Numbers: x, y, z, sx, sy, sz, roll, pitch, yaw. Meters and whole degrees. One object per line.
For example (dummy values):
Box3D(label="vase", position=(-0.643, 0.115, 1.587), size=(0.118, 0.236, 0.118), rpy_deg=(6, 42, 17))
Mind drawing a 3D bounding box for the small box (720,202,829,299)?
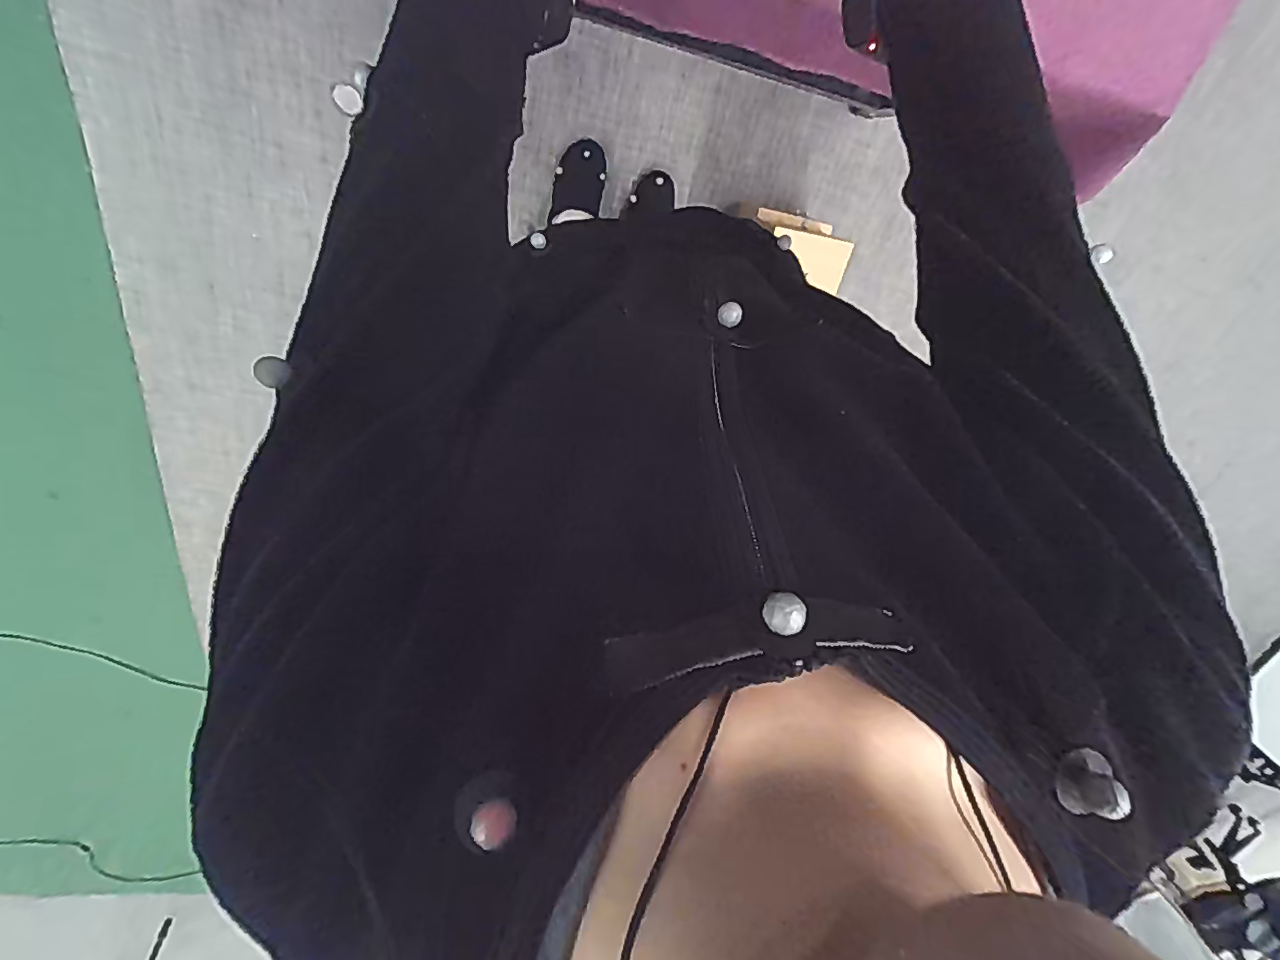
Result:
Box3D(label="small box", position=(0.307, -0.543, 1.270), size=(0.179, 0.176, 0.168), rpy_deg=(8, 121, -10))
